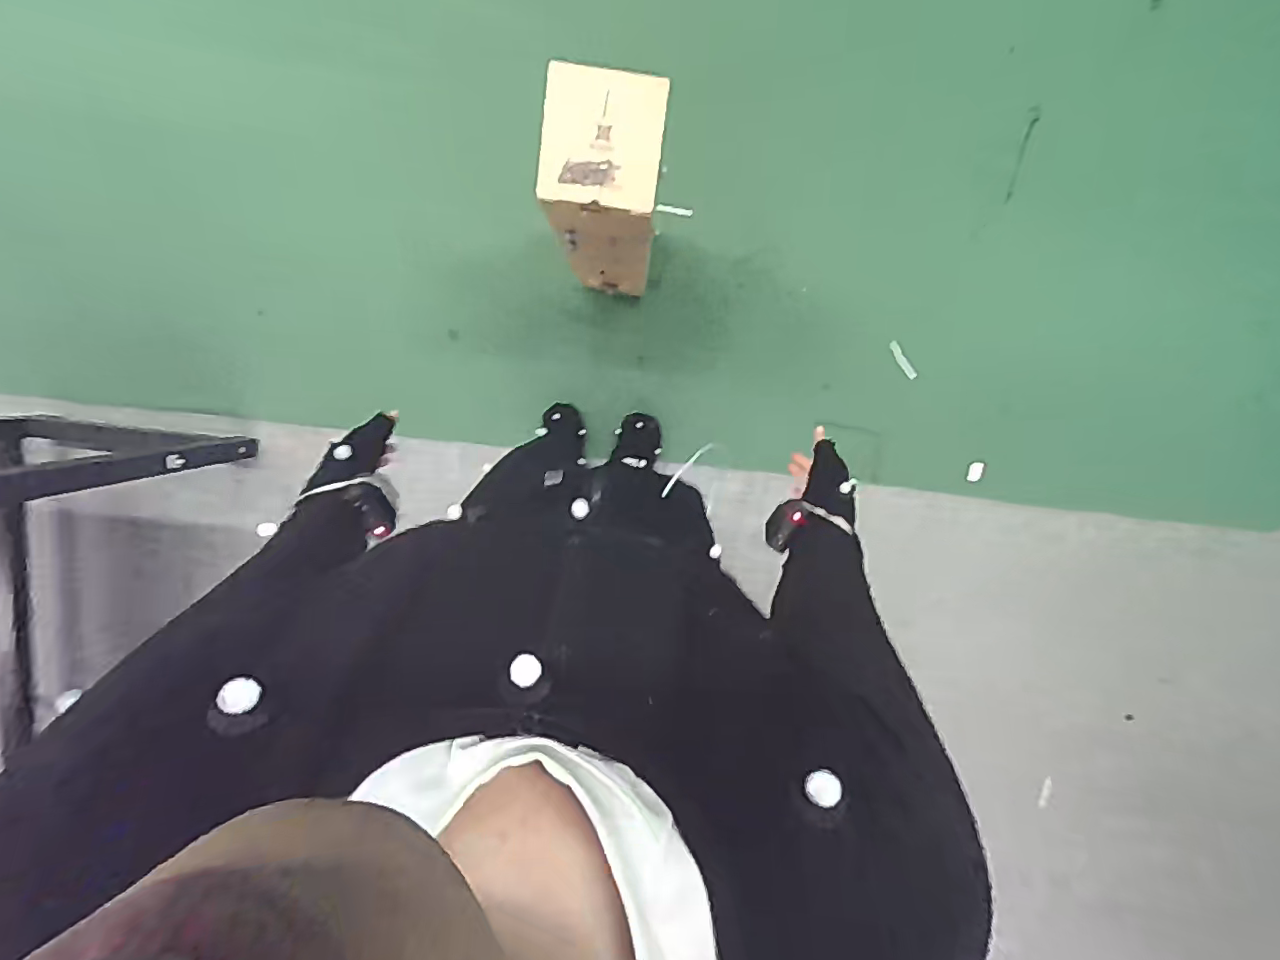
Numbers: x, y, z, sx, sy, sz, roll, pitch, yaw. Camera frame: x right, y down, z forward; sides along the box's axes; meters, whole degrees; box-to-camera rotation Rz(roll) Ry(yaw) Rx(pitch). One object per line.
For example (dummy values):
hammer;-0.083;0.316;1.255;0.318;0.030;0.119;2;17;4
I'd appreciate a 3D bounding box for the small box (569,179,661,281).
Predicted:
small box;-0.053;-0.537;1.145;0.168;0.176;0.179;7;100;-2

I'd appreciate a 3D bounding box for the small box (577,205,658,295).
small box;-0.053;-0.563;1.306;0.168;0.176;0.179;9;99;-2

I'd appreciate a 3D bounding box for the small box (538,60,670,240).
small box;-0.051;-0.482;0.821;0.168;0.176;0.179;7;99;-2
